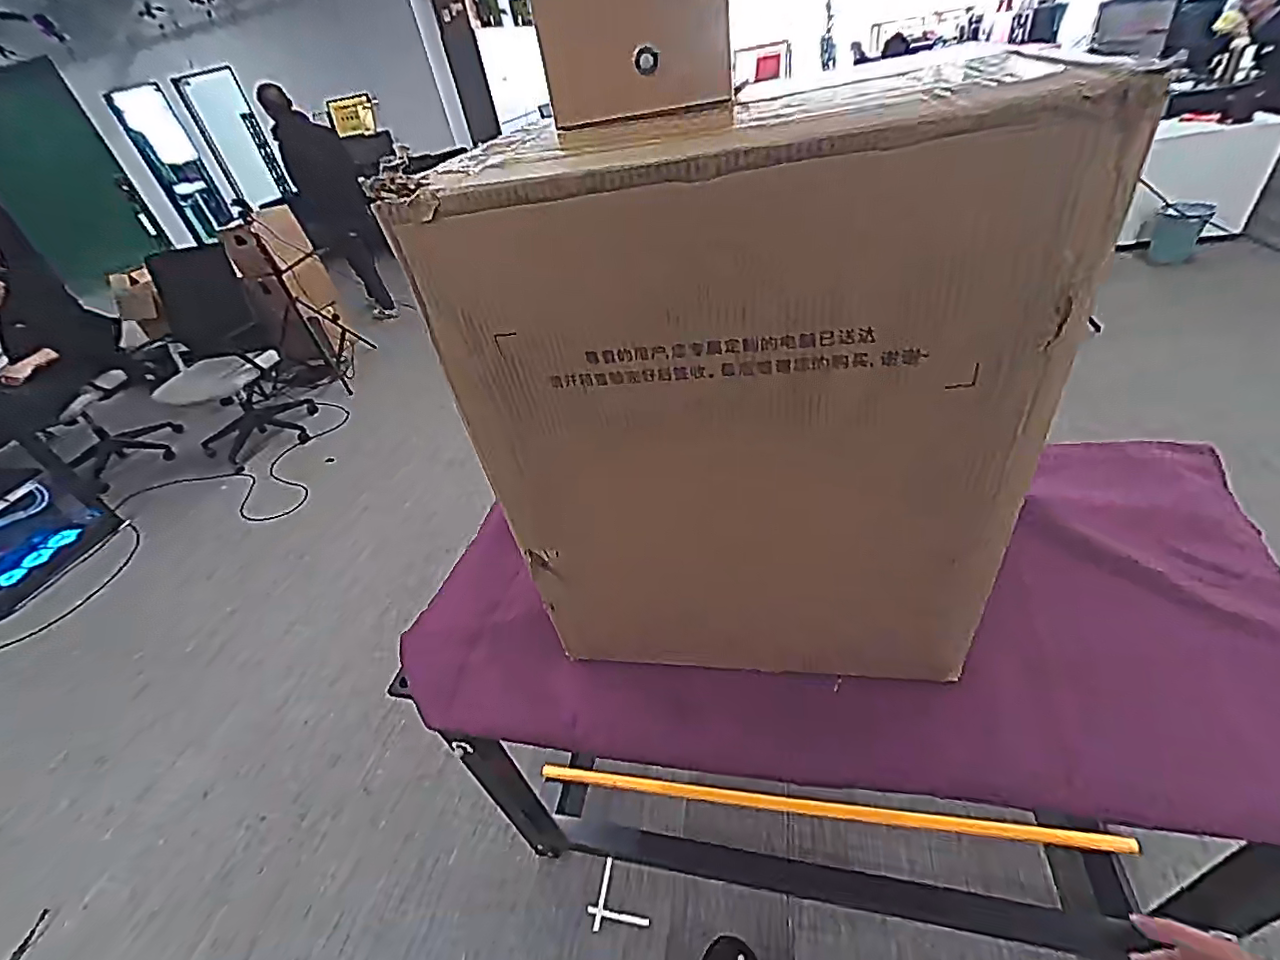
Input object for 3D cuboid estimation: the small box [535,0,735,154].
[{"bbox_3d":[0.003,-0.451,0.543,0.179,0.176,0.168,-1,39,11],"label":"small box"}]
